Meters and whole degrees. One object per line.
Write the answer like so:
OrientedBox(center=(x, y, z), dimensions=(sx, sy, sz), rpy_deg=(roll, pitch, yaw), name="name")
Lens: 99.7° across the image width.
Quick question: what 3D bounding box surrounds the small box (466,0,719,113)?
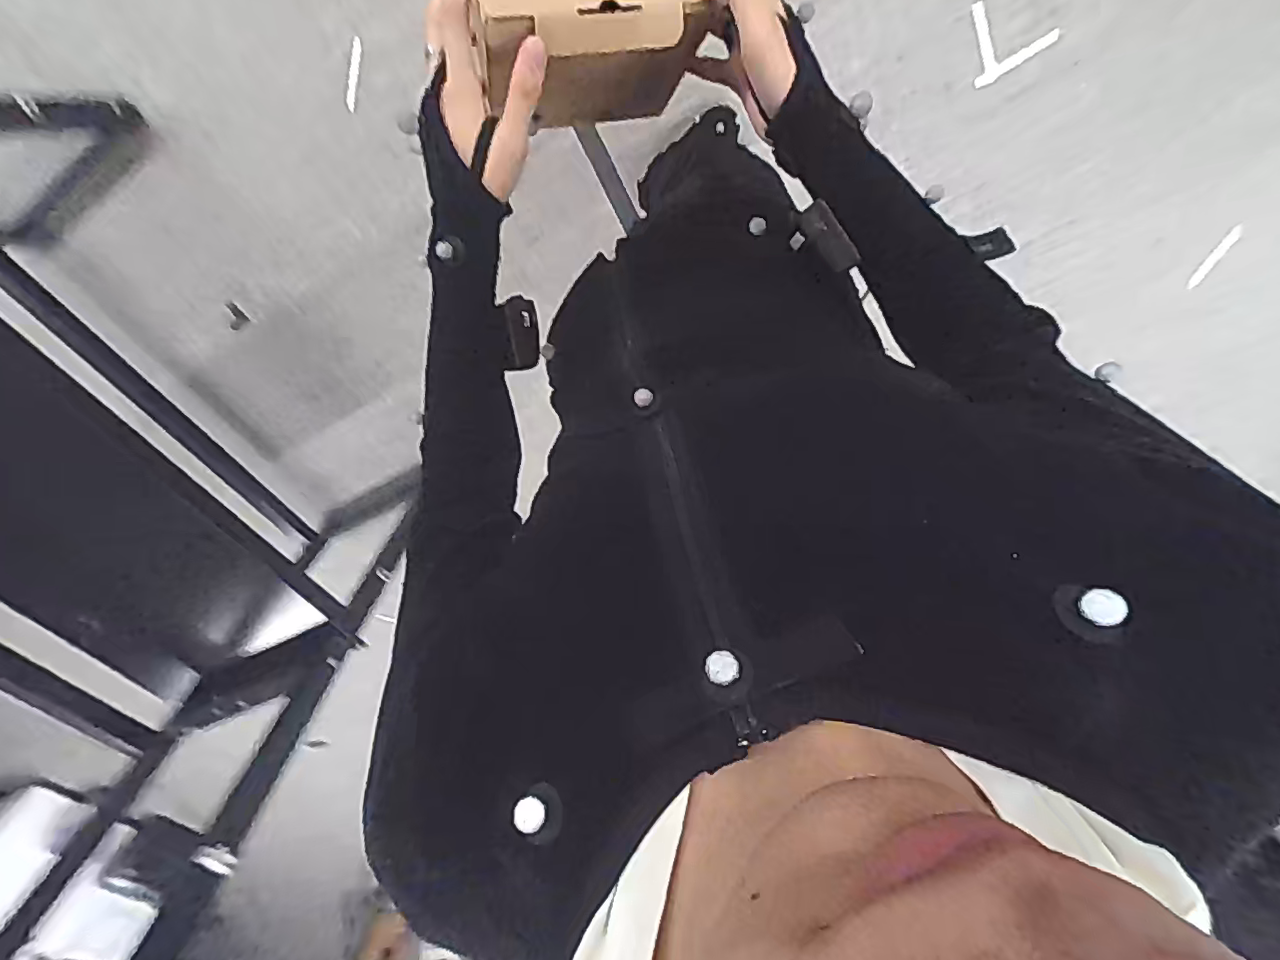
OrientedBox(center=(-0.051, -0.406, 0.408), dimensions=(0.168, 0.176, 0.179), rpy_deg=(-13, 102, -11), name="small box")
